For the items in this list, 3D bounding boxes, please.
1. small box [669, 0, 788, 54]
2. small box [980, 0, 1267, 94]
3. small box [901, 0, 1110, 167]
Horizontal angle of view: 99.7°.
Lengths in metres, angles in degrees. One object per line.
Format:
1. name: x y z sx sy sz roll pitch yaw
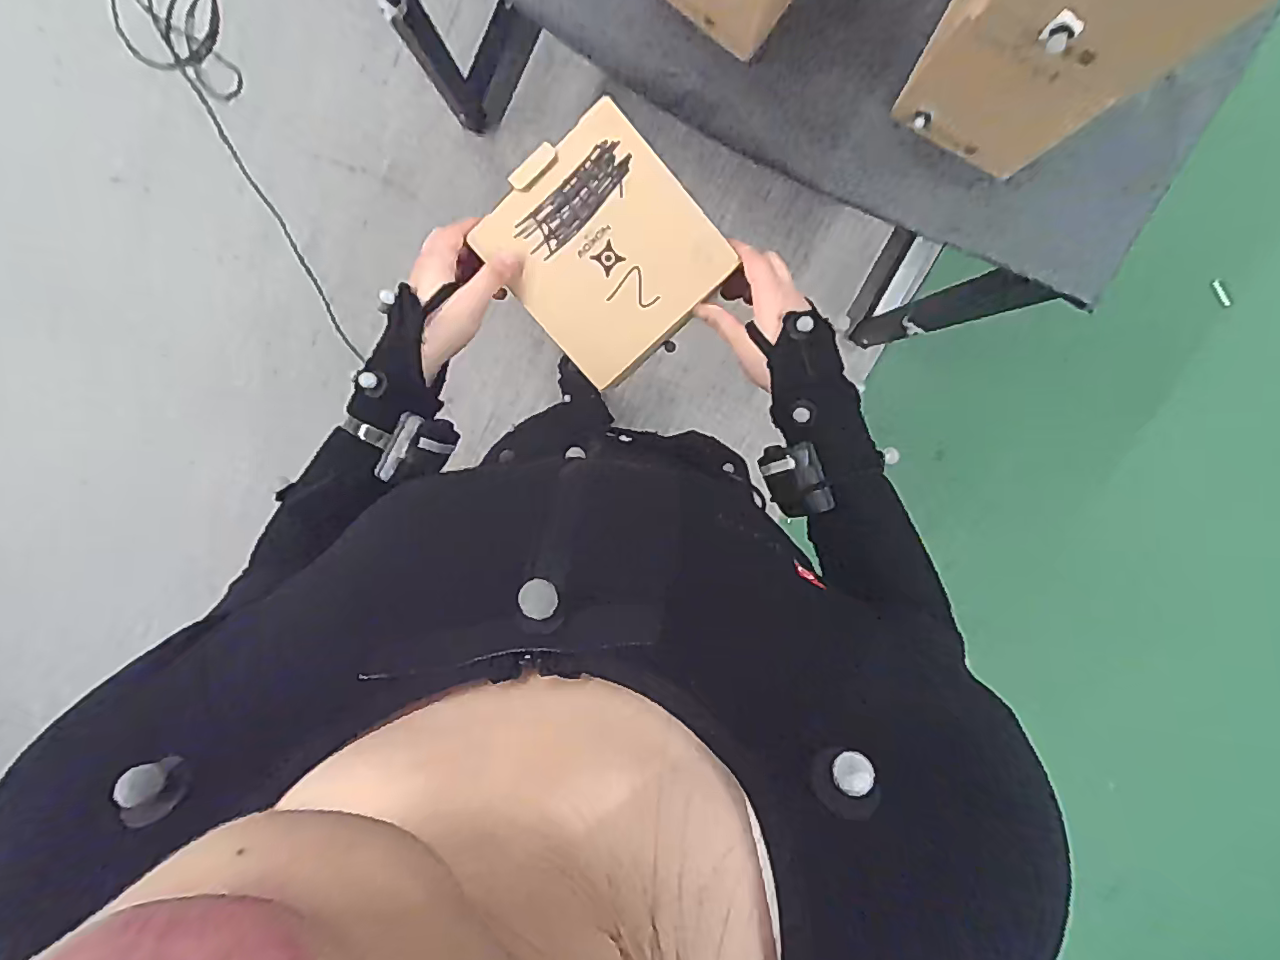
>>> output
1. small box: 0.113 -0.613 0.559 0.168 0.176 0.179 36 95 -3
2. small box: 0.409 -0.456 0.414 0.168 0.176 0.179 24 97 -1
3. small box: 0.412 -0.479 0.574 0.168 0.176 0.179 28 95 -3
